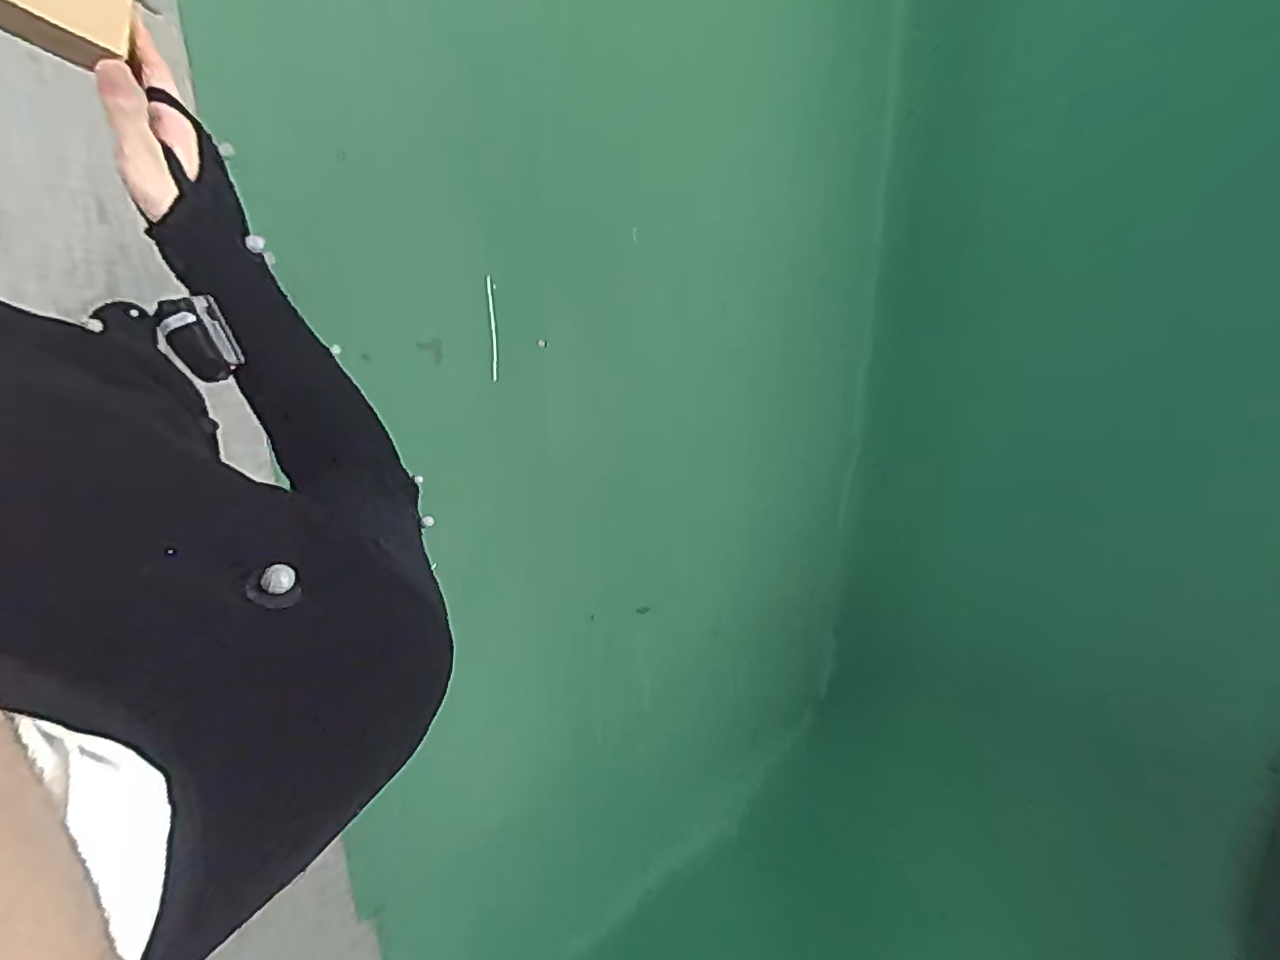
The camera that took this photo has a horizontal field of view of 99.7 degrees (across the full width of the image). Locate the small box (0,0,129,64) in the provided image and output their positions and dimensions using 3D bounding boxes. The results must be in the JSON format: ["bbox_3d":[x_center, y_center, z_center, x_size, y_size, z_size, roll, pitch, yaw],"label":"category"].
[{"bbox_3d":[-0.410,-0.381,0.311,0.179,0.176,0.168,8,107,-47],"label":"small box"}]
